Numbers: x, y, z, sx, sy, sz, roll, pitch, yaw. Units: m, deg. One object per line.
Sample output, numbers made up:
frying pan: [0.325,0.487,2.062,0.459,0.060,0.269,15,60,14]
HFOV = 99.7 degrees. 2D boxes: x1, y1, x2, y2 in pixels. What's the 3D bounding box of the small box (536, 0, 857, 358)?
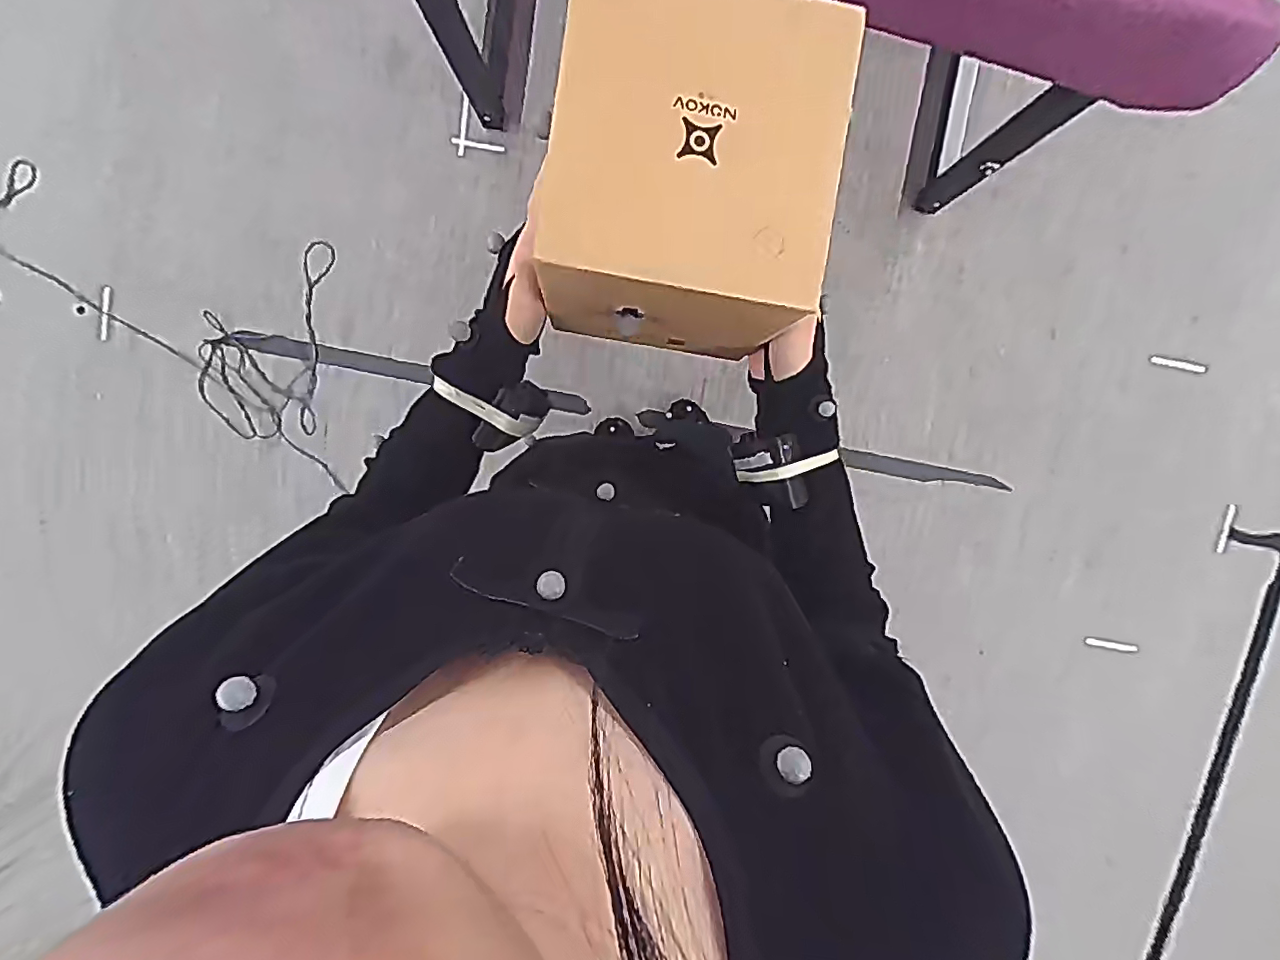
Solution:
small box: [0.028,-0.196,0.388,0.168,0.176,0.179,8,90,-5]
